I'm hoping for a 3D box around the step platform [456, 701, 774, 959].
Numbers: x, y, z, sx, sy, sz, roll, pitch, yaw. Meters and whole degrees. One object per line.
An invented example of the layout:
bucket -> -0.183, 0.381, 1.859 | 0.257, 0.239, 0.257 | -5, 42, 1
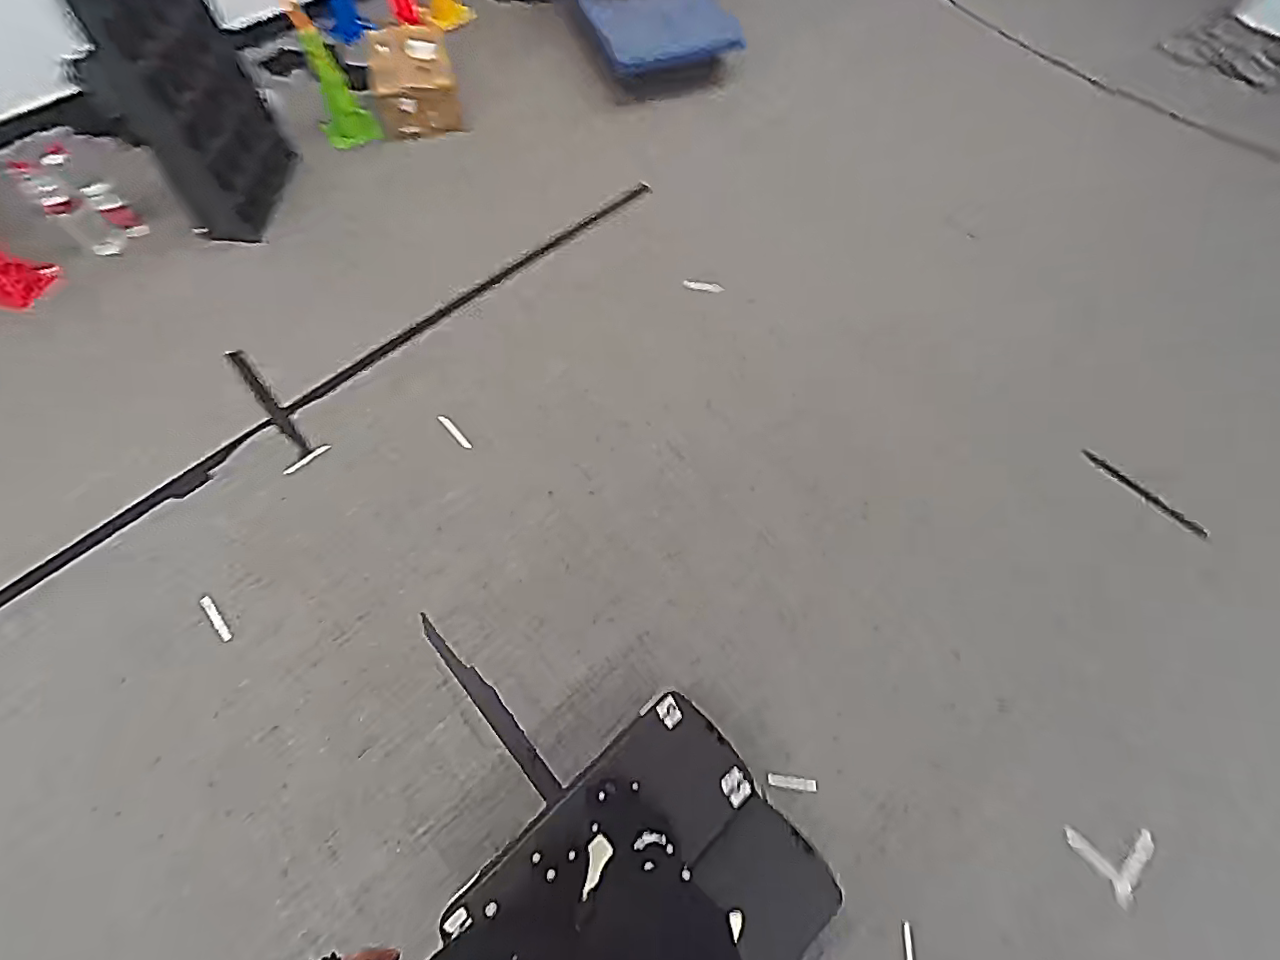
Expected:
step platform -> -0.038, 0.802, 1.166 | 0.684, 0.204, 0.286 | -35, 70, -17
